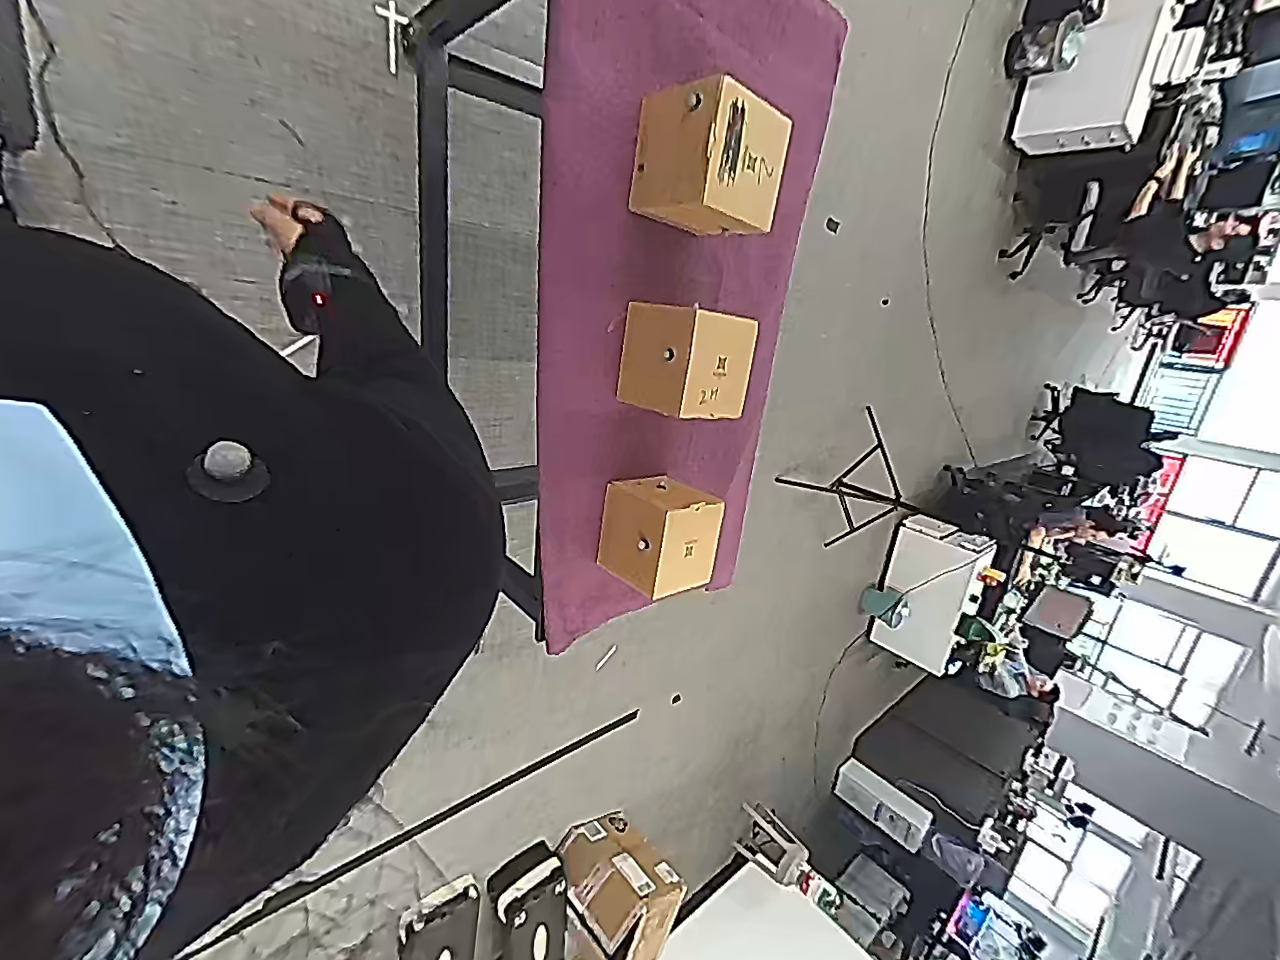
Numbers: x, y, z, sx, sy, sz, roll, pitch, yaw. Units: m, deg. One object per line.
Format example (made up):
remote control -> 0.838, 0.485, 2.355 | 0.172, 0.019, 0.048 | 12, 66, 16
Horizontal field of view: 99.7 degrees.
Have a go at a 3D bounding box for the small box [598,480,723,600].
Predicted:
small box -> 0.035, 0.109, 1.066 | 0.168, 0.176, 0.179 | -5, 110, -43

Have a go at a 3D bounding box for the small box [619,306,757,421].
small box -> 0.080, -0.210, 0.972 | 0.168, 0.176, 0.179 | -5, 111, -42
